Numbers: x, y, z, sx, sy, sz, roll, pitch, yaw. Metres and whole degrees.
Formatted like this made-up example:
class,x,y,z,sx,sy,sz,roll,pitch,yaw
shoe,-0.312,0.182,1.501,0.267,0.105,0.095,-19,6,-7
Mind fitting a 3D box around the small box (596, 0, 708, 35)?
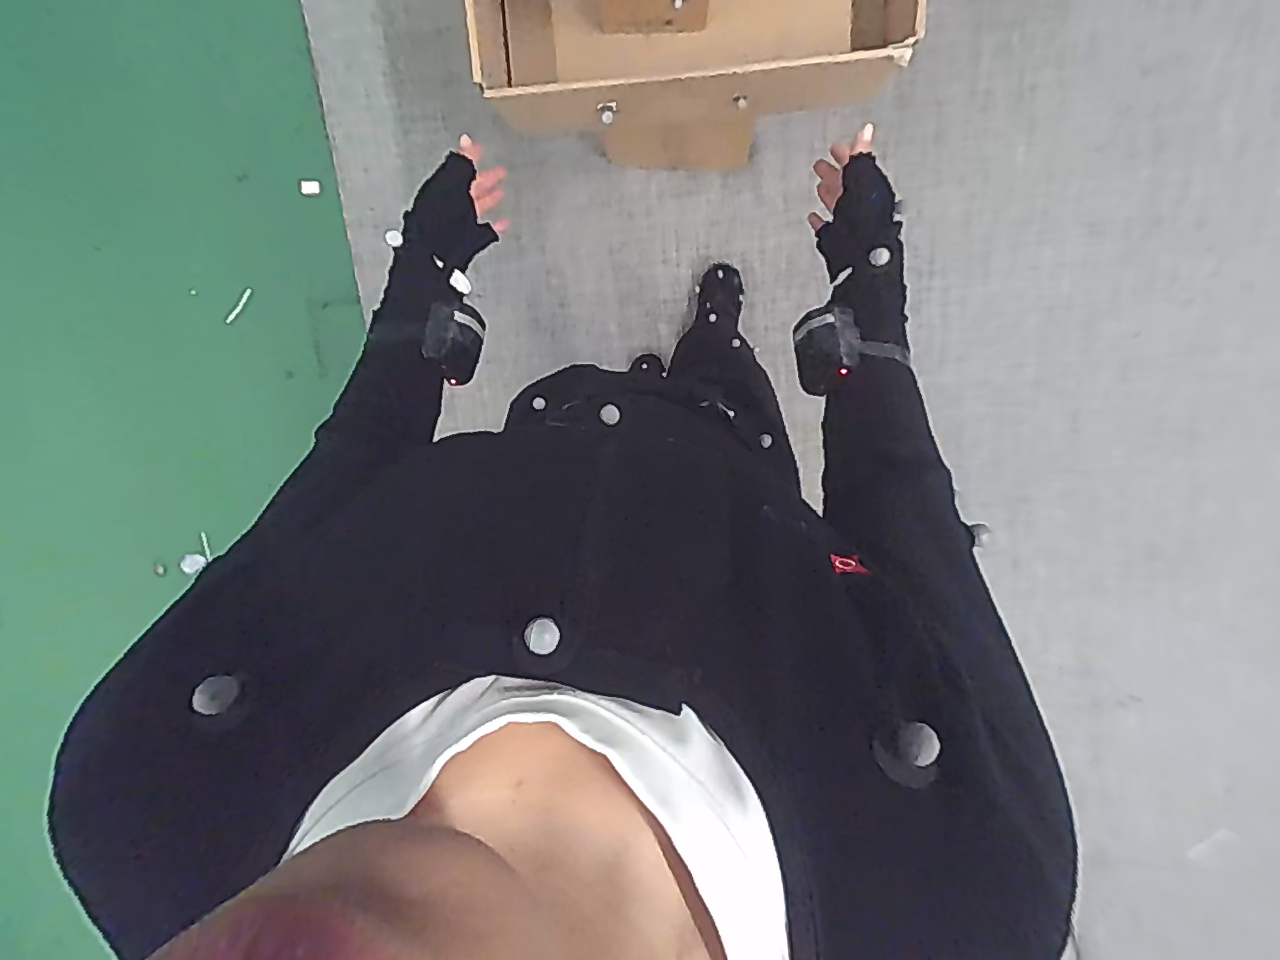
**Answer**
class,x,y,z,sx,sy,sz,roll,pitch,yaw
small box,0.017,-0.770,0.765,0.168,0.176,0.179,0,102,2
